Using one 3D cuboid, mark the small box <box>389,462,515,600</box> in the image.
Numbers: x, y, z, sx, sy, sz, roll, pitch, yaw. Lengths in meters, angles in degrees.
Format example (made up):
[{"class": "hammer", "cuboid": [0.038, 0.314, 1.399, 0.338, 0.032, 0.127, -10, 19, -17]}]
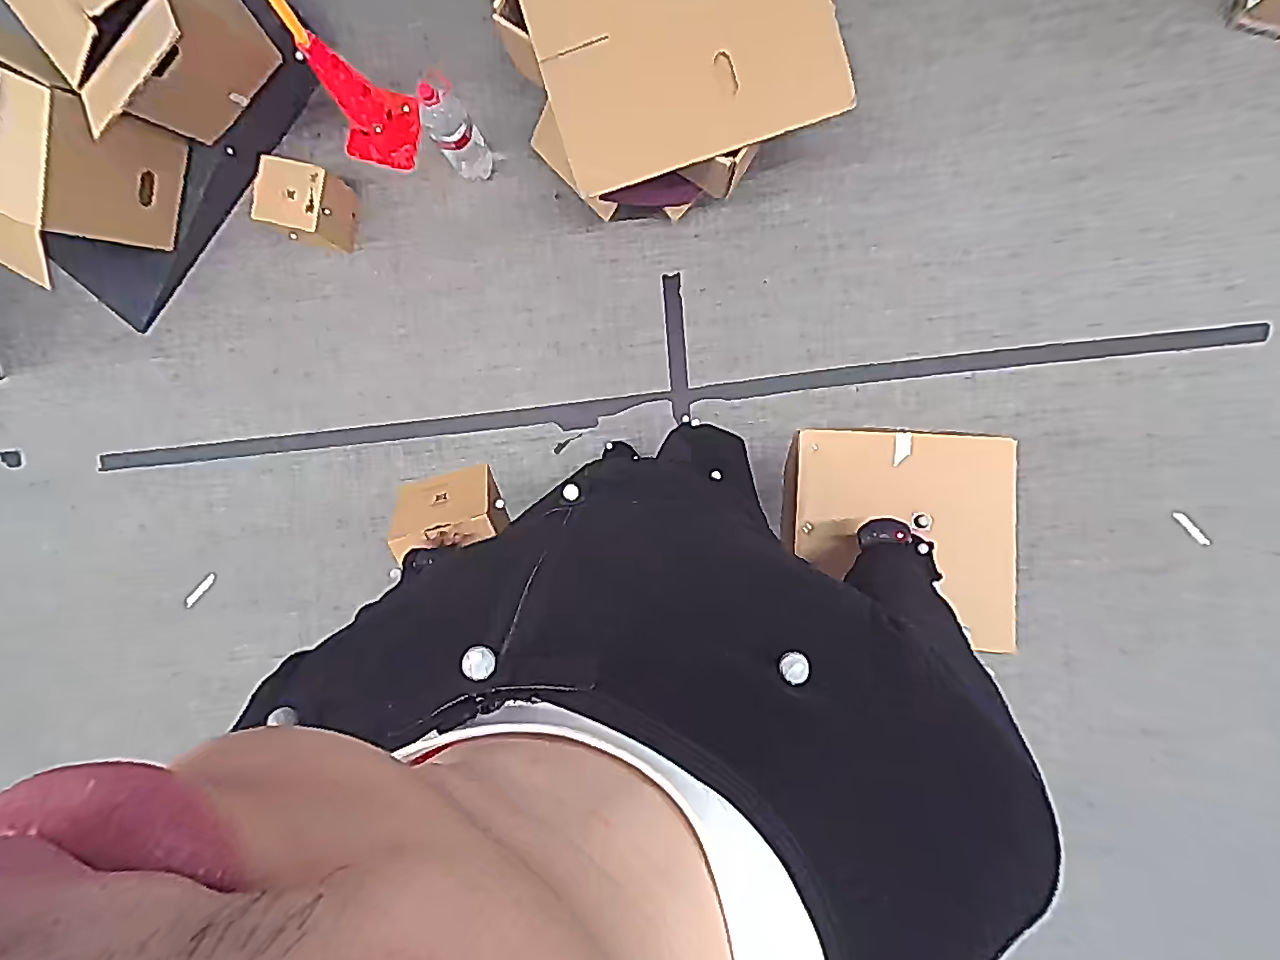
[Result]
[{"class": "small box", "cuboid": [-0.332, 0.098, 0.990, 0.168, 0.179, 0.176, -15, 124, -6]}]
